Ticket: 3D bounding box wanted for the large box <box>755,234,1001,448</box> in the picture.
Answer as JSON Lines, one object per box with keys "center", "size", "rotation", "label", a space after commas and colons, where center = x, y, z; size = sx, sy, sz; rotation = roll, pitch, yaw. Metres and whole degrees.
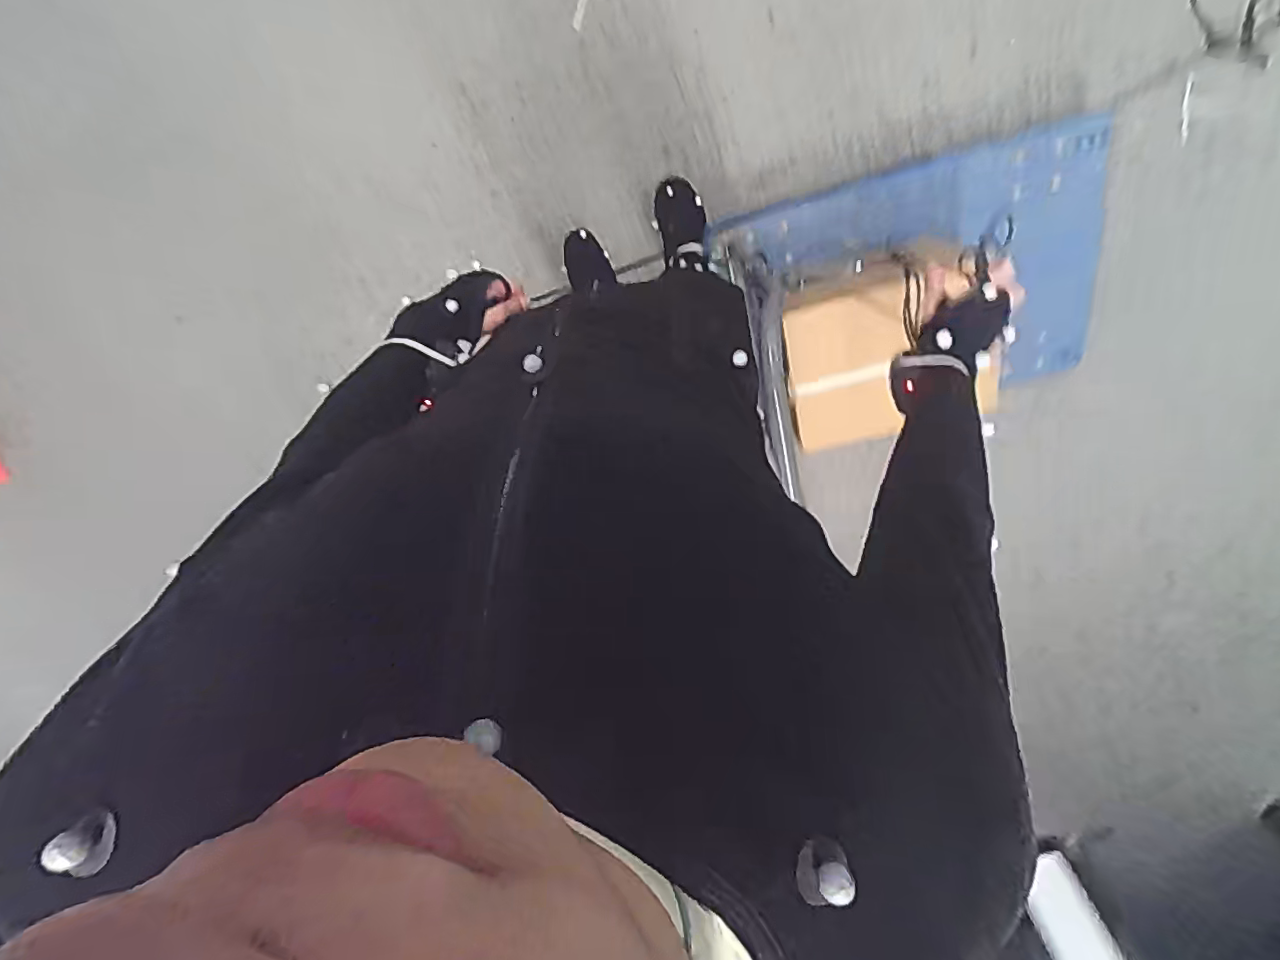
{"center": [0.504, -0.316, 1.202], "size": [0.408, 0.320, 0.320], "rotation": [-14, 120, 9], "label": "large box"}
